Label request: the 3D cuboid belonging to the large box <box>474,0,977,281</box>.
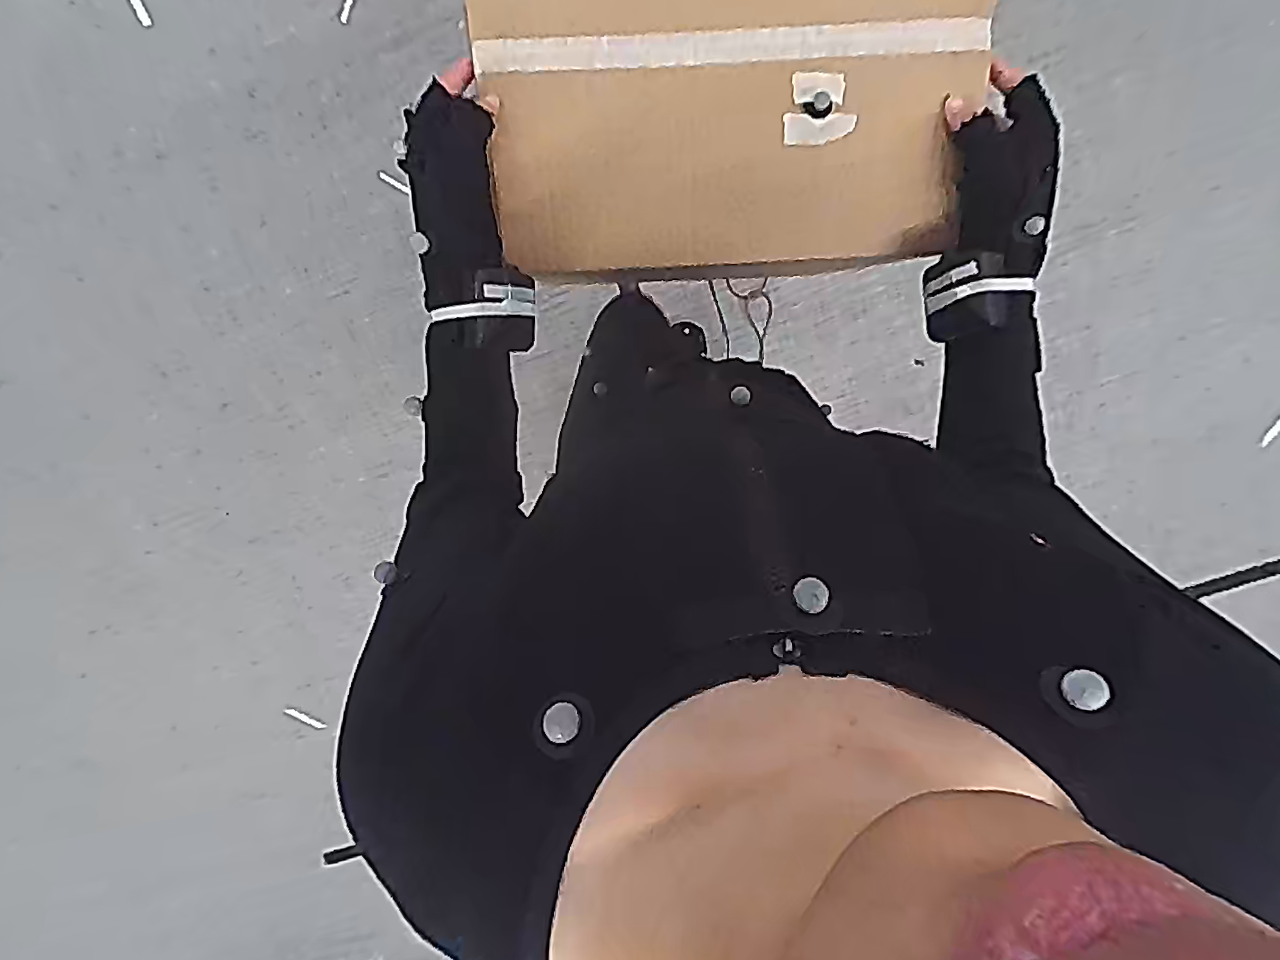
[{"bbox_3d":[0.064,-0.395,0.575,0.408,0.320,0.320,-3,108,-2],"label":"large box"}]
